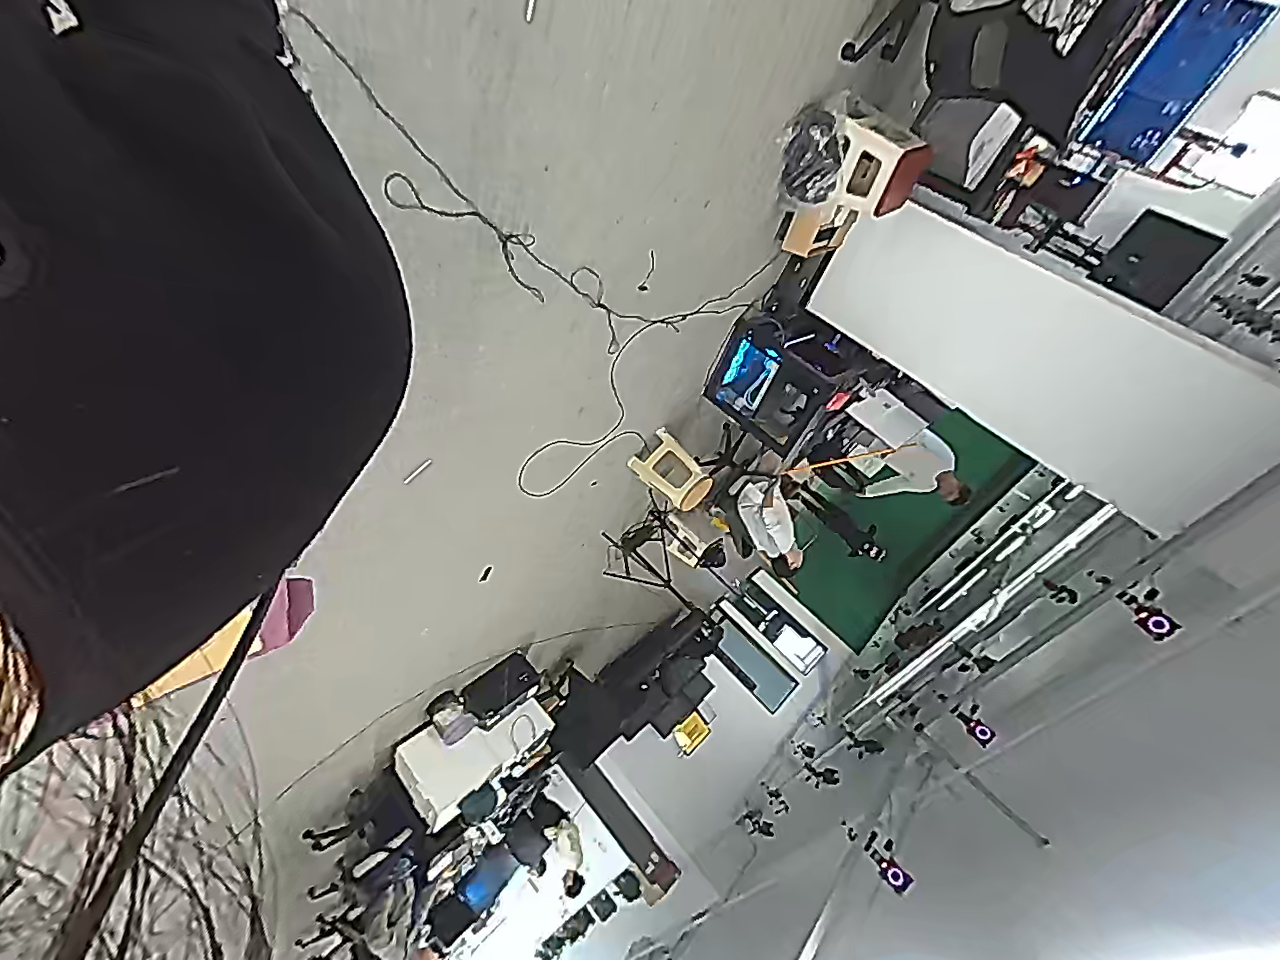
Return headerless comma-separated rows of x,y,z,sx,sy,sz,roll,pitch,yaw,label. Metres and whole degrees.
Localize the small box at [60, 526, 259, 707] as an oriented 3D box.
-0.710,0.192,0.810,0.168,0.176,0.179,-26,150,-42,small box
